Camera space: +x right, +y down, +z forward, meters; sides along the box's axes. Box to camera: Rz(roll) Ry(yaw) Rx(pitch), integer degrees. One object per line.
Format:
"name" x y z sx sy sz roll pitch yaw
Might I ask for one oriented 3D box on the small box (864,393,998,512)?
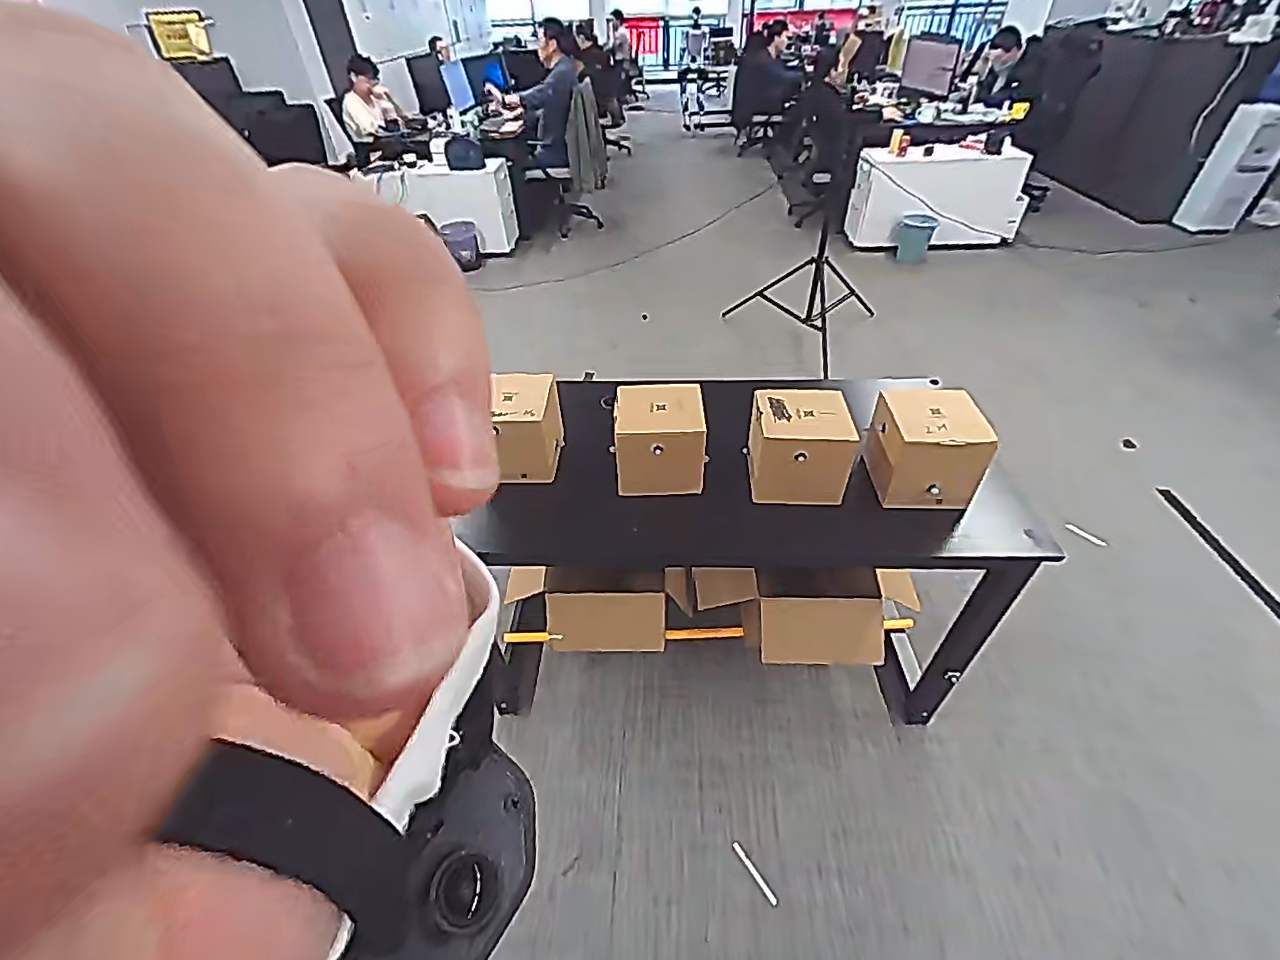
"small box" 0.561 -0.057 1.074 0.168 0.176 0.179 0 41 6

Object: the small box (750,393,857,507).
"small box" 0.316 -0.060 1.092 0.179 0.176 0.168 2 42 5

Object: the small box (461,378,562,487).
"small box" -0.267 -0.105 1.174 0.168 0.176 0.179 0 42 2

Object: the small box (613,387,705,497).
"small box" 0.039 -0.077 1.129 0.179 0.176 0.168 -1 43 1
